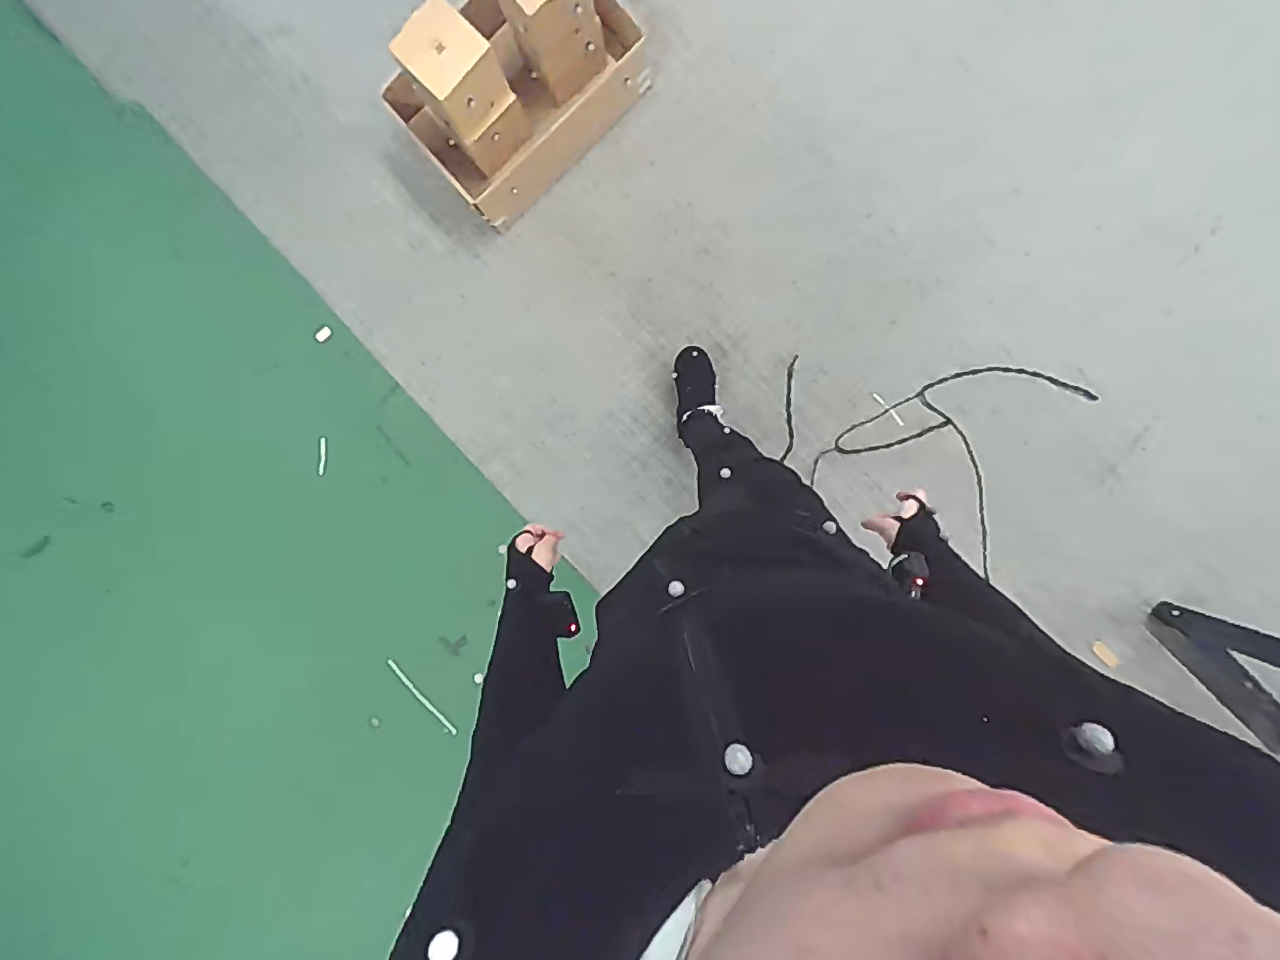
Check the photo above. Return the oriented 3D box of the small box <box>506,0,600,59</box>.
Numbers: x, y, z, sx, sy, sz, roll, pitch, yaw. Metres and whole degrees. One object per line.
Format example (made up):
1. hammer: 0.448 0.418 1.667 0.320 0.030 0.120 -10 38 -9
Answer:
1. small box: -0.211 -1.132 1.251 0.168 0.176 0.179 -38 90 5

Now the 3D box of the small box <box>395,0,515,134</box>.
1. small box: -0.427 -0.967 1.282 0.168 0.176 0.179 -45 89 5

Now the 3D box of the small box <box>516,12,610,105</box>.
1. small box: -0.192 -1.144 1.413 0.179 0.176 0.168 -37 90 7
